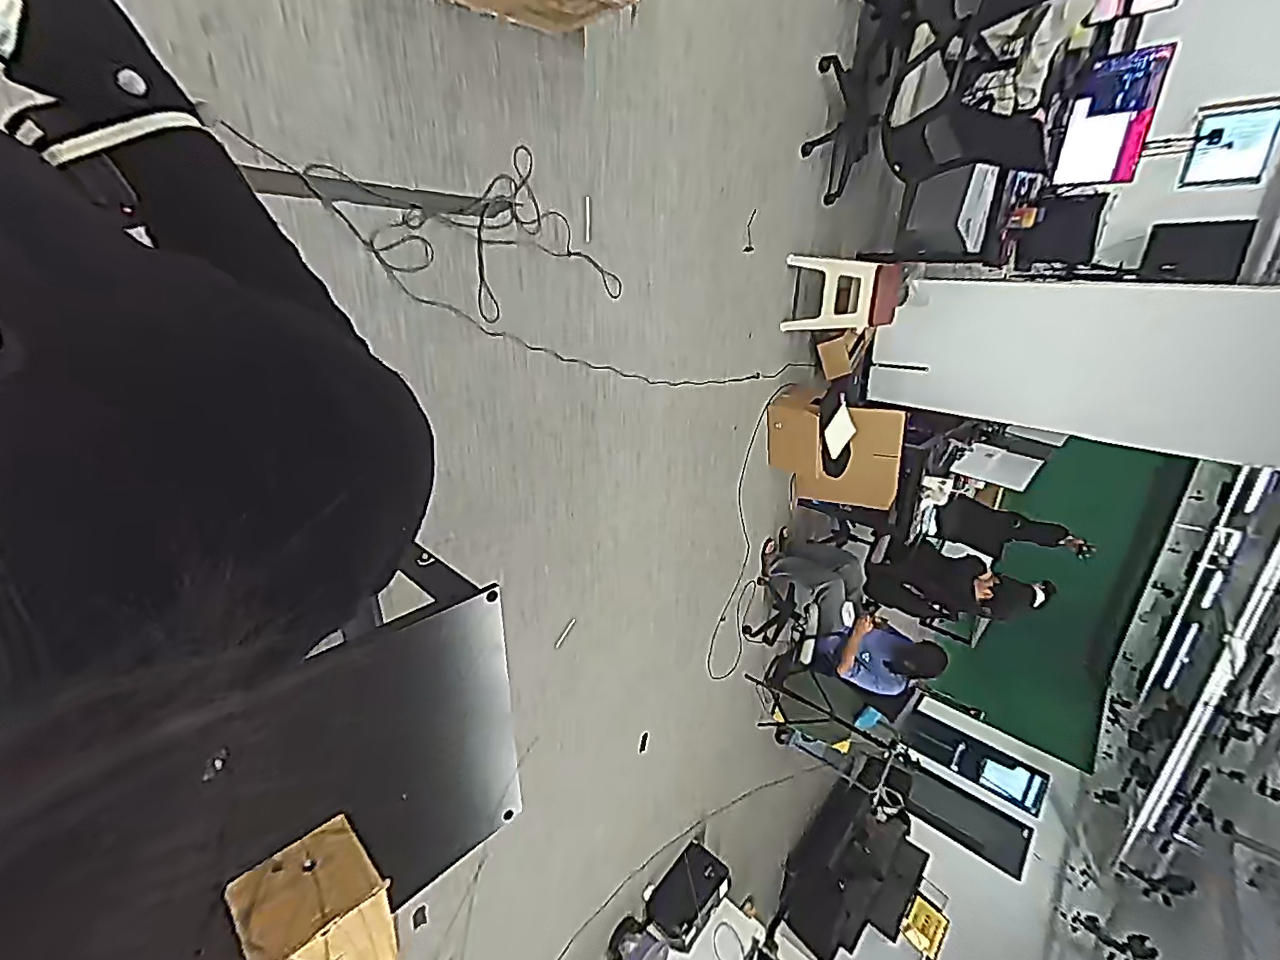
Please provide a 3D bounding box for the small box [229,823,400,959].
[{"bbox_3d":[-0.489,0.677,0.819,0.168,0.176,0.179,-20,119,-43],"label":"small box"}]
